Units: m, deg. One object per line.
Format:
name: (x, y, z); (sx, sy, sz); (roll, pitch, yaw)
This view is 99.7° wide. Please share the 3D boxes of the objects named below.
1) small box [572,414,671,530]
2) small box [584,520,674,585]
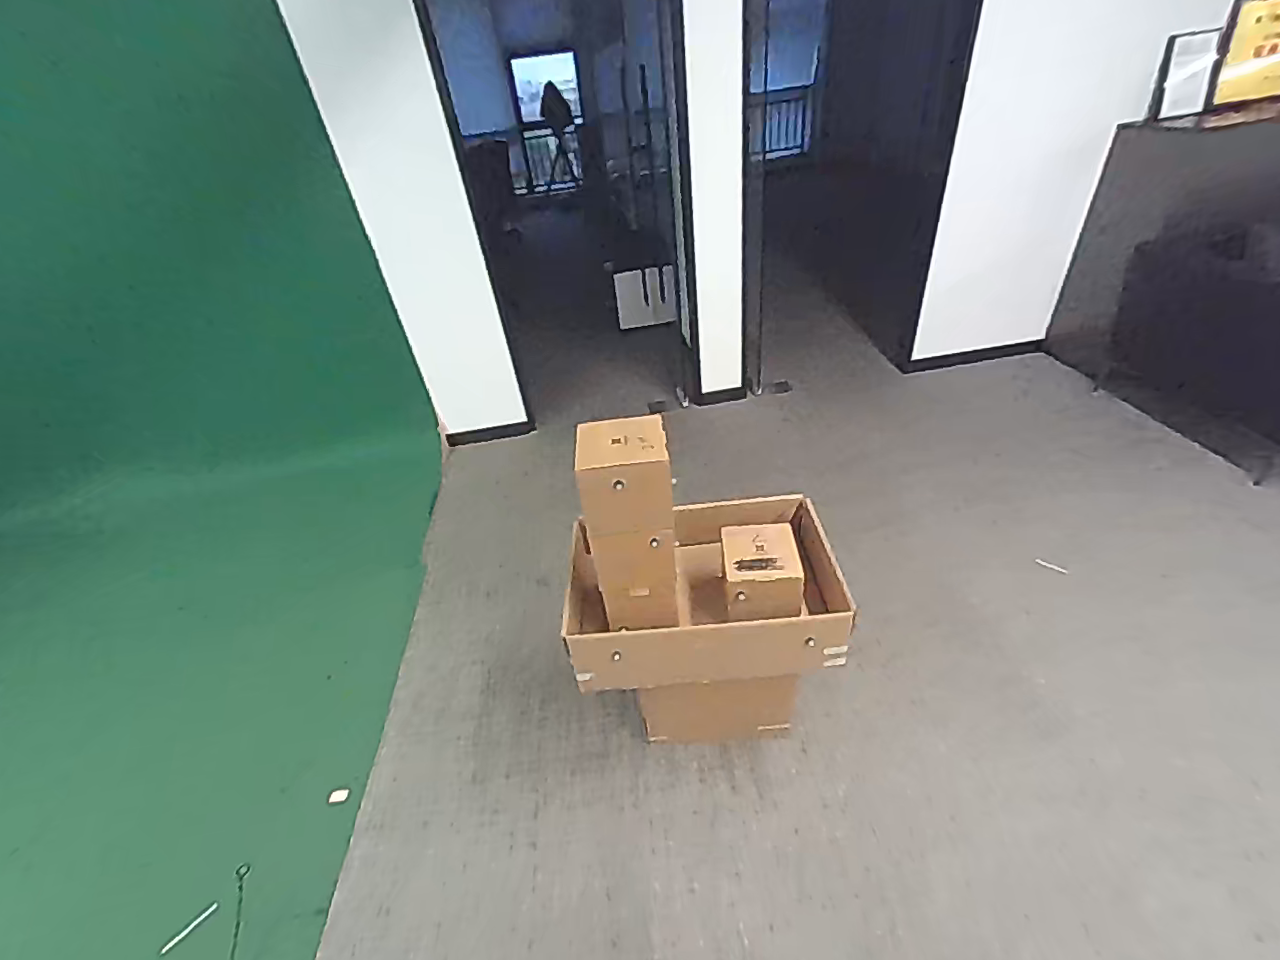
small box: (-0.034, -0.014, 1.091); (0.179, 0.176, 0.168); (-5, 38, 0)
small box: (-0.022, 0.115, 1.192); (0.179, 0.176, 0.168); (-5, 37, 1)
